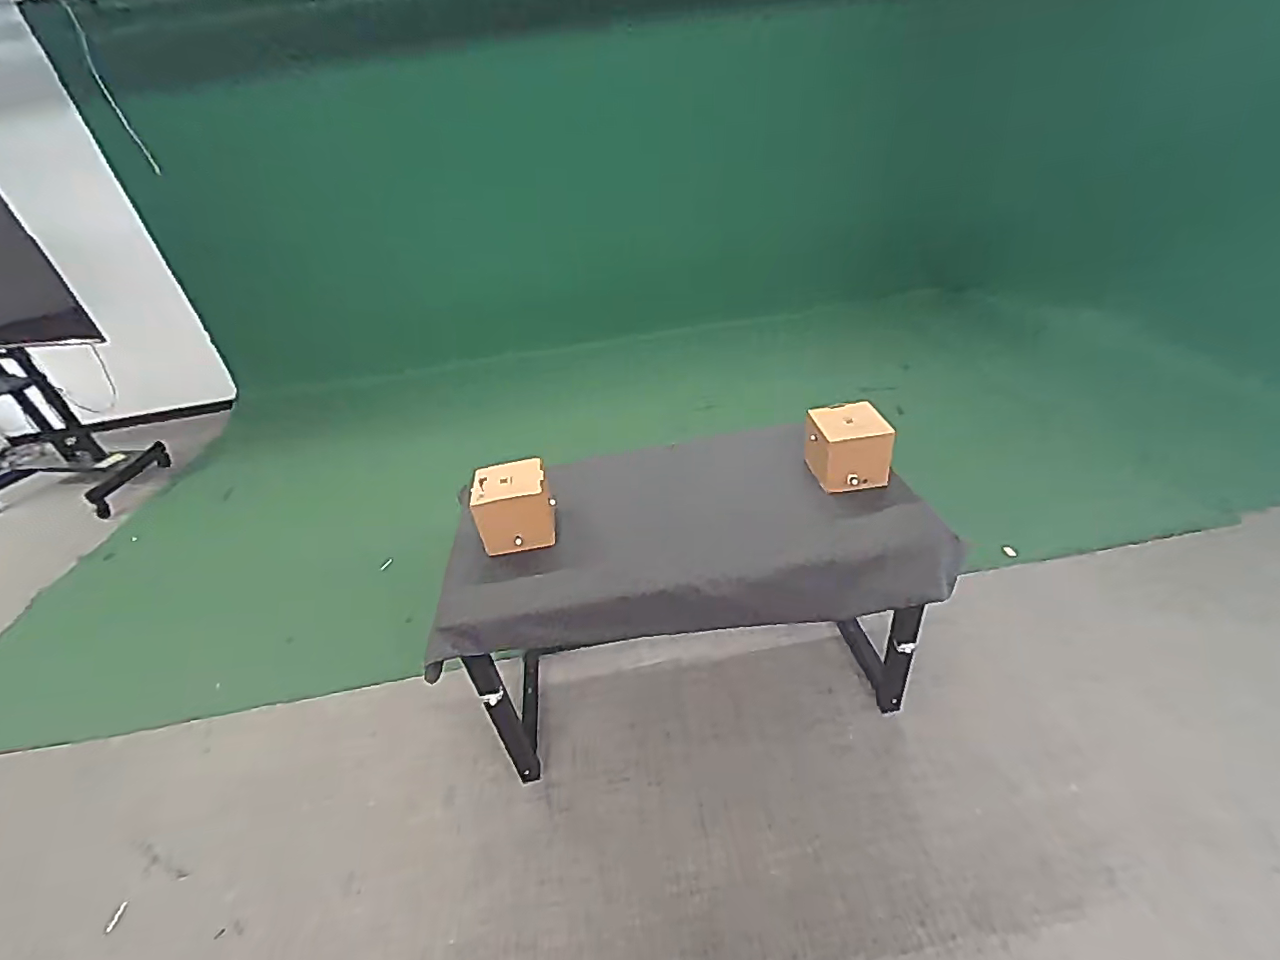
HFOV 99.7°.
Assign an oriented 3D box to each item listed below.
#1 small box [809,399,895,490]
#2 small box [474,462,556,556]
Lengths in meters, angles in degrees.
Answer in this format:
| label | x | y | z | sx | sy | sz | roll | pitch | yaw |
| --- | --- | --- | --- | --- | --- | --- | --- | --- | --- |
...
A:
| label | x | y | z | sx | sy | sz | roll | pitch | yaw |
| --- | --- | --- | --- | --- | --- | --- | --- | --- | --- |
| small box | 0.554 | -0.095 | 1.440 | 0.168 | 0.176 | 0.179 | -9 | 35 | 4 |
| small box | -0.317 | 0.077 | 1.411 | 0.179 | 0.176 | 0.168 | -9 | 34 | -3 |
